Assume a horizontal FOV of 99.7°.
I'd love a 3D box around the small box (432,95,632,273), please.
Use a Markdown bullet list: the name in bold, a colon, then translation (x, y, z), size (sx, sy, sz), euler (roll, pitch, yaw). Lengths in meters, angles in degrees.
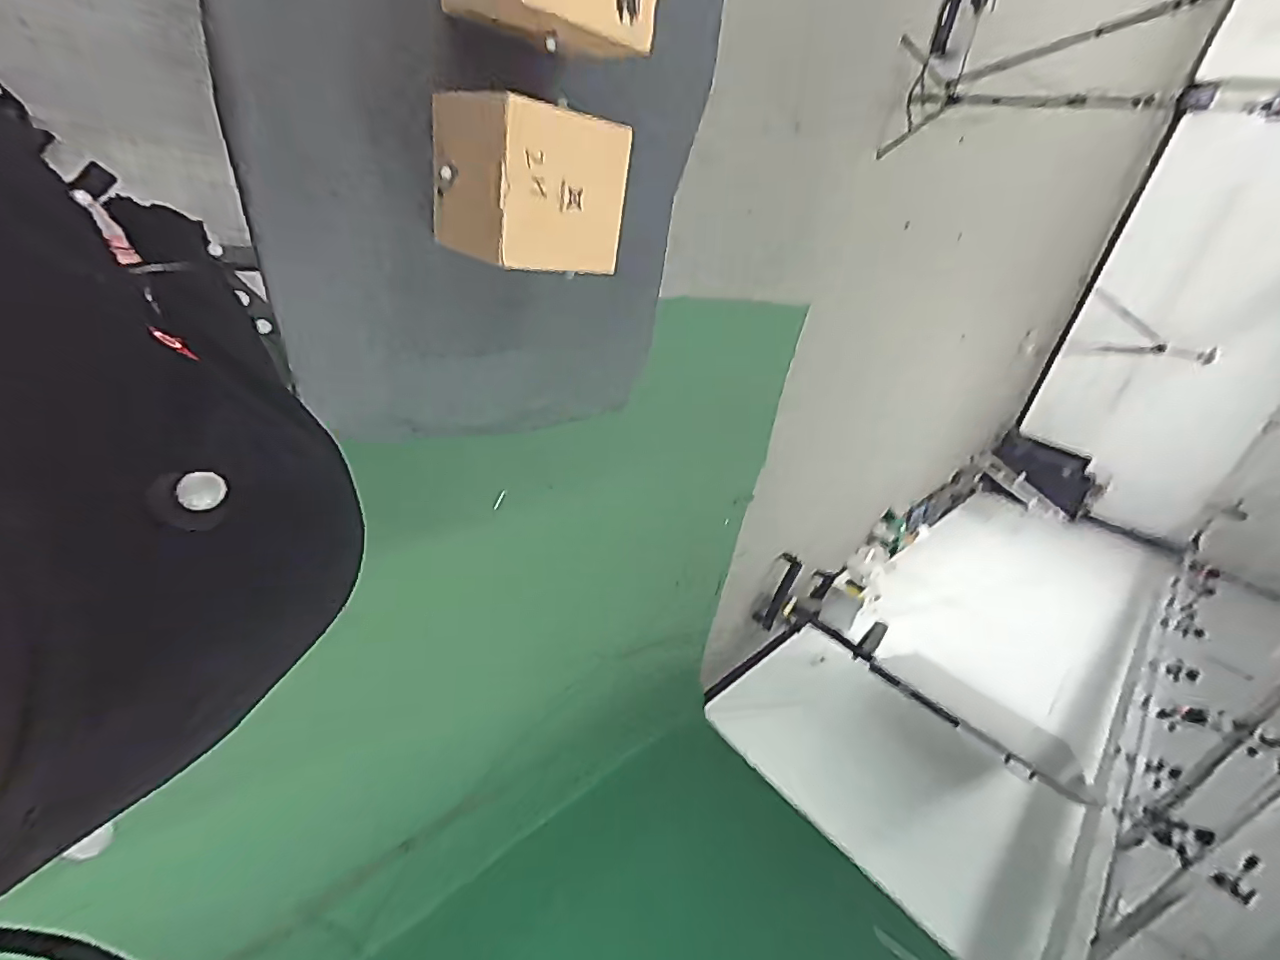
- **small box**: translation (-0.139, -0.368, 0.680), size (0.179, 0.176, 0.168), euler (-16, 127, -42)
